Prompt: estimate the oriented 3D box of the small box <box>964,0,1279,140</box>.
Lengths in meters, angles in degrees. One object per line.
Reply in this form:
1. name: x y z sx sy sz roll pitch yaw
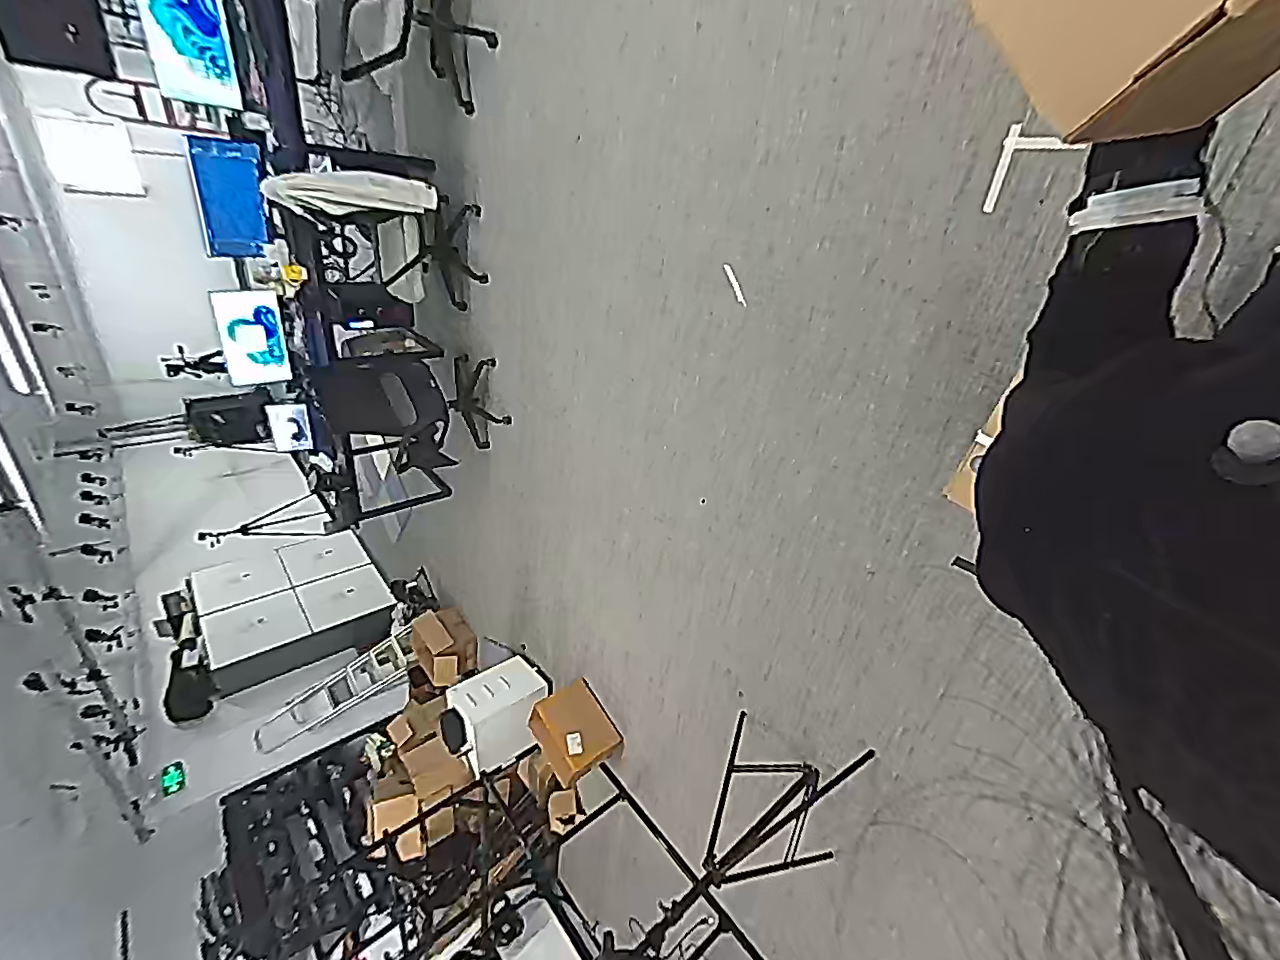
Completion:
1. small box: 0.255 -0.287 0.228 0.179 0.176 0.168 64 154 8
